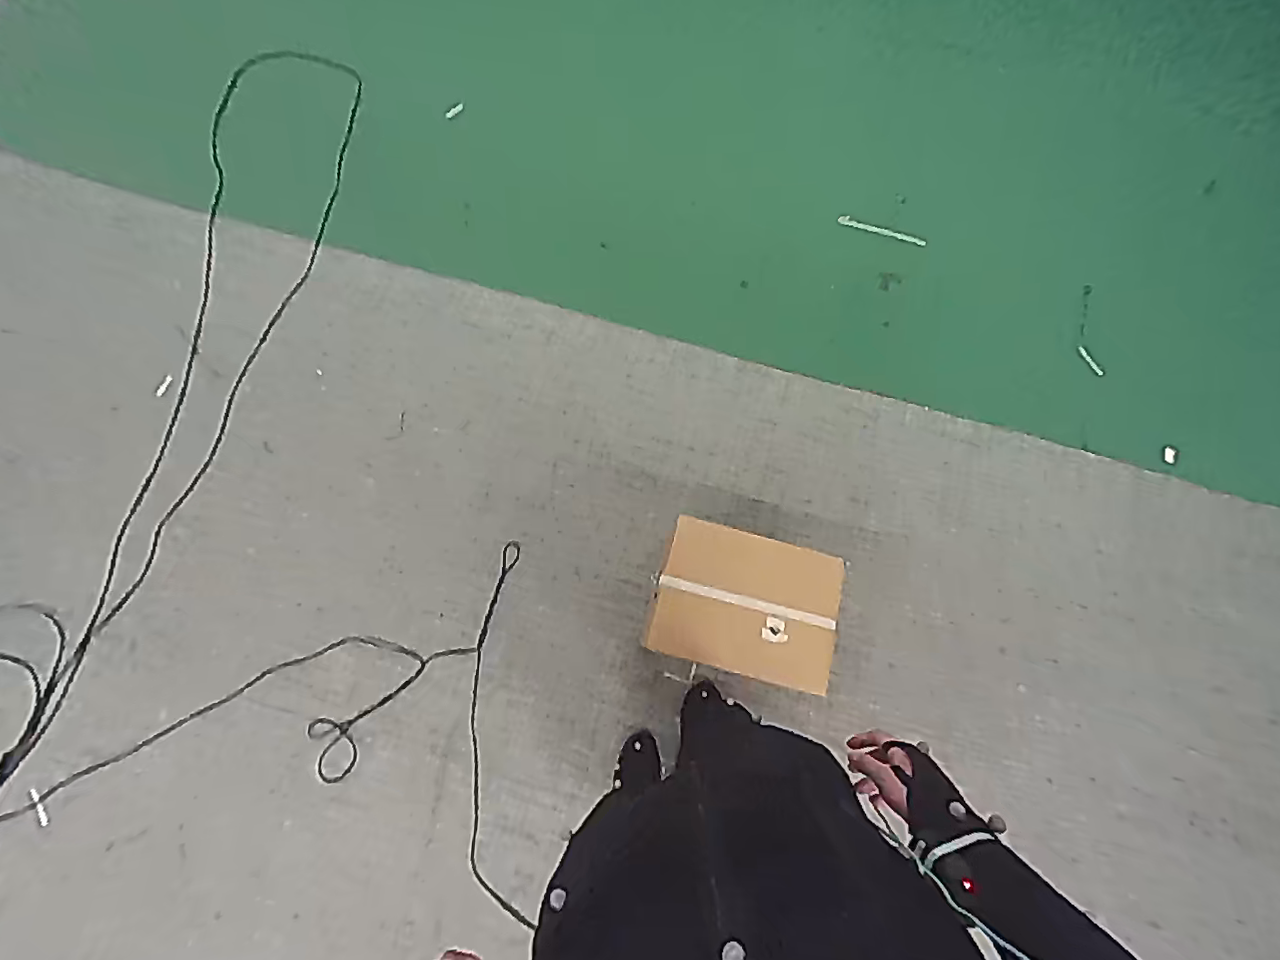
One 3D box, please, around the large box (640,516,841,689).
[{"bbox_3d":[0.234,0.315,1.366,0.408,0.320,0.320,15,73,1],"label":"large box"}]
